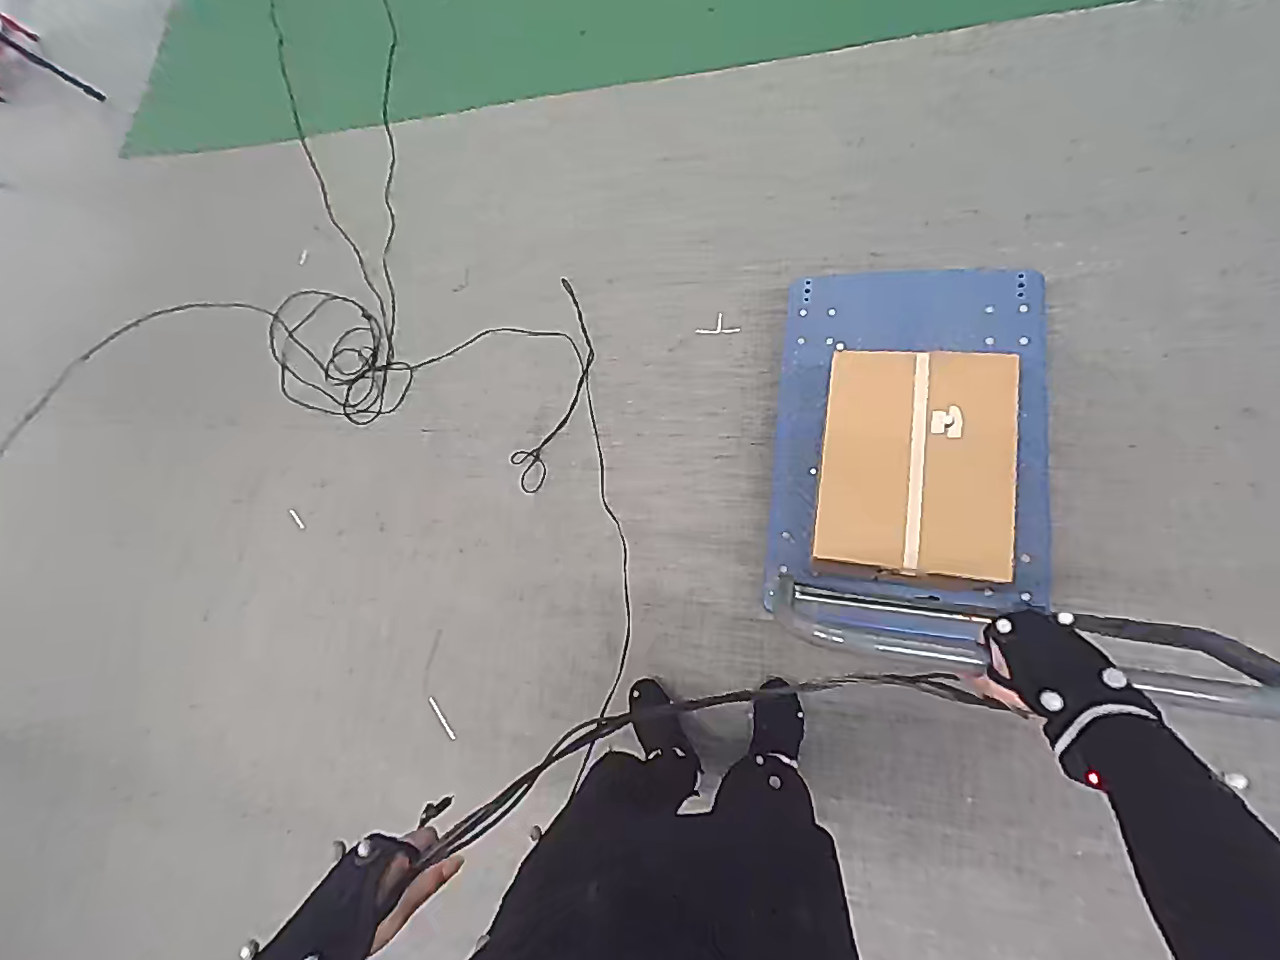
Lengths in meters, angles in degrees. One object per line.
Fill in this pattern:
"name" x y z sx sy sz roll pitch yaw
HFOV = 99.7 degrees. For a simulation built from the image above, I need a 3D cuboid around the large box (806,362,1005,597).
"large box" 0.516 0.013 1.107 0.320 0.320 0.408 6 77 16
